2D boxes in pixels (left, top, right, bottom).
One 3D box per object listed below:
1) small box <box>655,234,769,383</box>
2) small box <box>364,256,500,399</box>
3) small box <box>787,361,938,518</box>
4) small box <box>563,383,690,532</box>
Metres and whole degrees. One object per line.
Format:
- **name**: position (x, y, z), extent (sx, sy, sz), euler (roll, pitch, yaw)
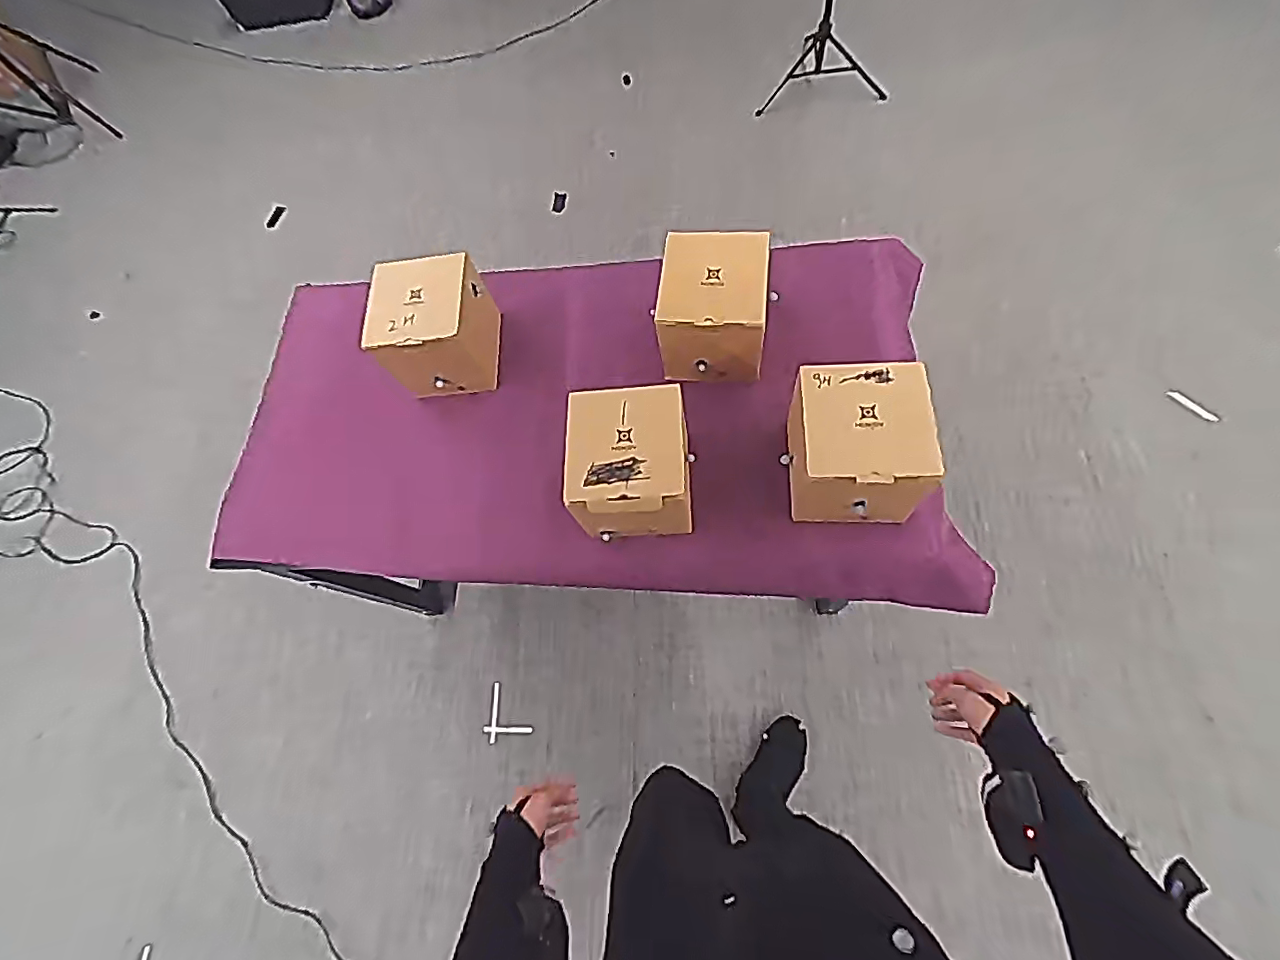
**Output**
- **small box**: position (0.123, -0.285, 0.911), extent (0.168, 0.176, 0.179), euler (4, 70, 10)
- **small box**: position (-0.361, -0.268, 0.974), extent (0.168, 0.176, 0.179), euler (-5, 68, 6)
- **small box**: position (0.307, -0.050, 0.784), extent (0.168, 0.176, 0.179), euler (0, 67, 9)
- **small box**: position (-0.012, -0.024, 0.822), extent (0.168, 0.176, 0.179), euler (-3, 67, 7)
